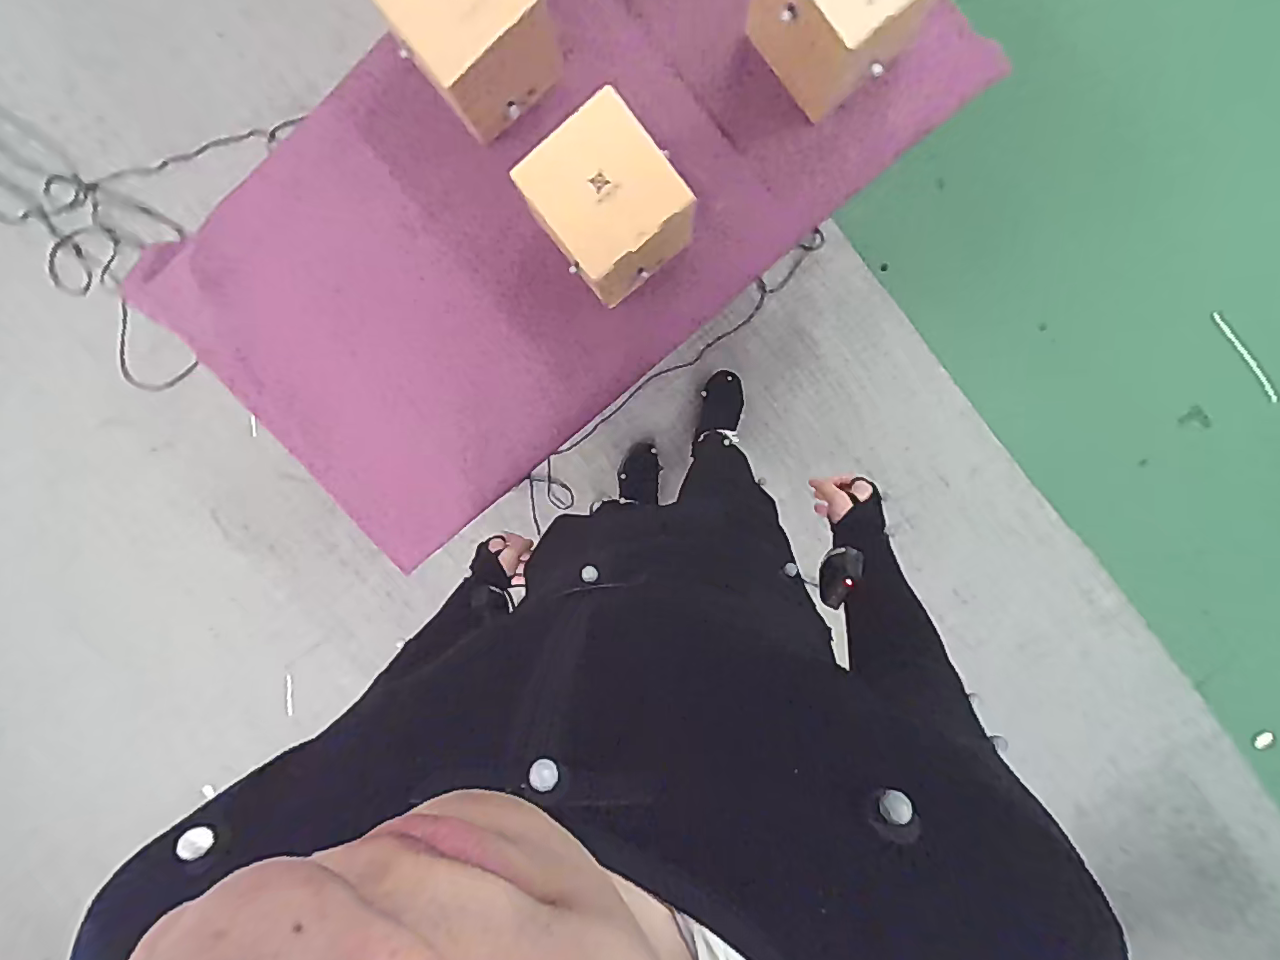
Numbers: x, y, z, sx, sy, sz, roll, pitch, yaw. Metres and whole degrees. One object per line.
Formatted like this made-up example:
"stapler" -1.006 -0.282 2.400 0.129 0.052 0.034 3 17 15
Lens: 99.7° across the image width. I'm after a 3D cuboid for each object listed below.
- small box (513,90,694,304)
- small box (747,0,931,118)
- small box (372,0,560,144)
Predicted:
"small box" -0.045 -0.377 0.759 0.168 0.176 0.179 -39 94 6
"small box" 0.261 -0.637 0.712 0.168 0.176 0.179 -38 93 7
"small box" -0.233 -0.611 0.735 0.168 0.176 0.179 -39 96 6
